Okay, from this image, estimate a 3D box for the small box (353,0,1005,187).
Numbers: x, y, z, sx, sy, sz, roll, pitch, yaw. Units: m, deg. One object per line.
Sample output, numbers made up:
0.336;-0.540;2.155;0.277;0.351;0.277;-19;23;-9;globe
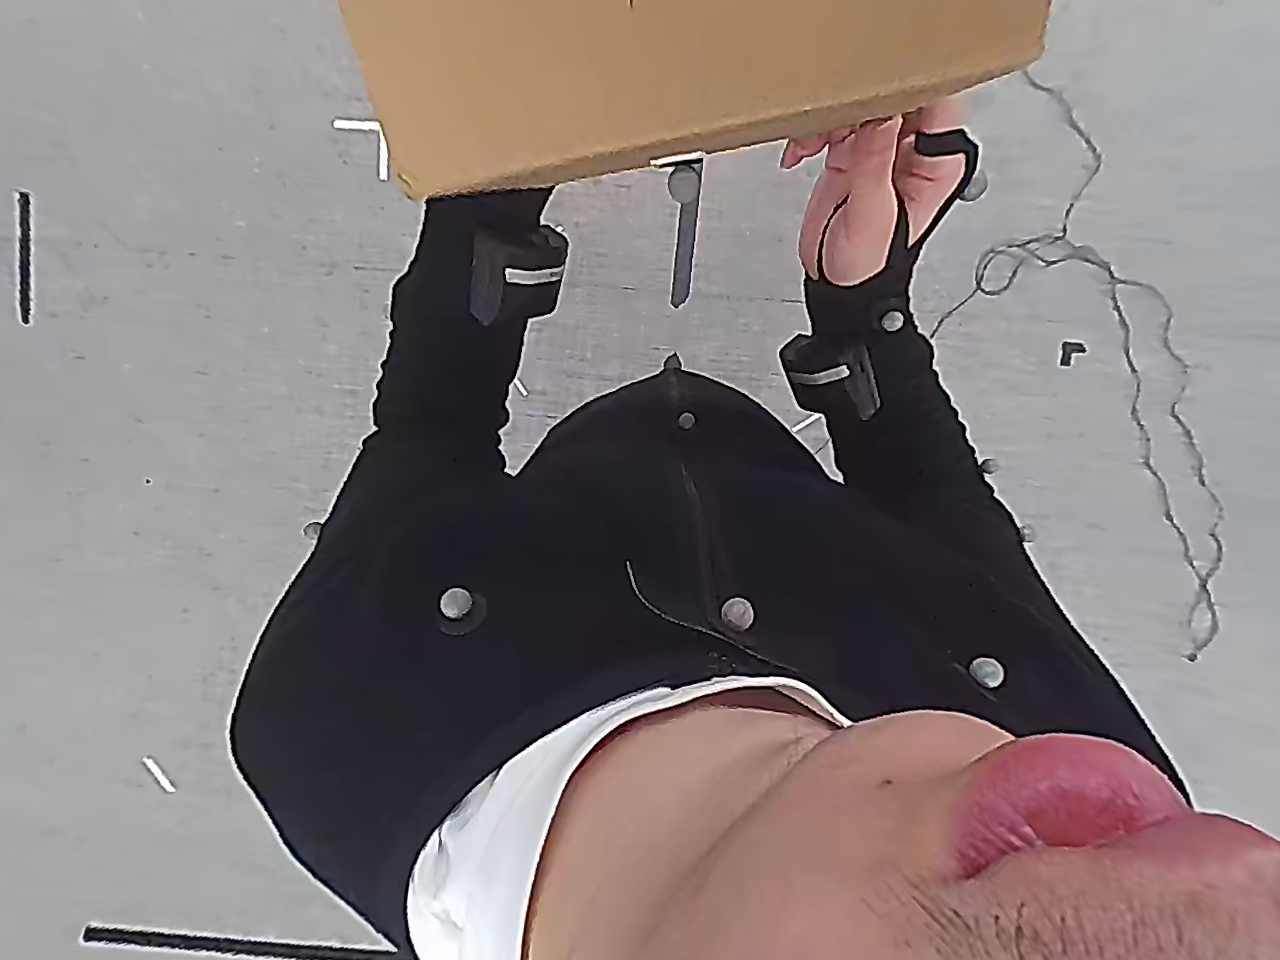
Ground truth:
0.007;-0.211;0.181;0.168;0.176;0.179;-5;119;14;small box
